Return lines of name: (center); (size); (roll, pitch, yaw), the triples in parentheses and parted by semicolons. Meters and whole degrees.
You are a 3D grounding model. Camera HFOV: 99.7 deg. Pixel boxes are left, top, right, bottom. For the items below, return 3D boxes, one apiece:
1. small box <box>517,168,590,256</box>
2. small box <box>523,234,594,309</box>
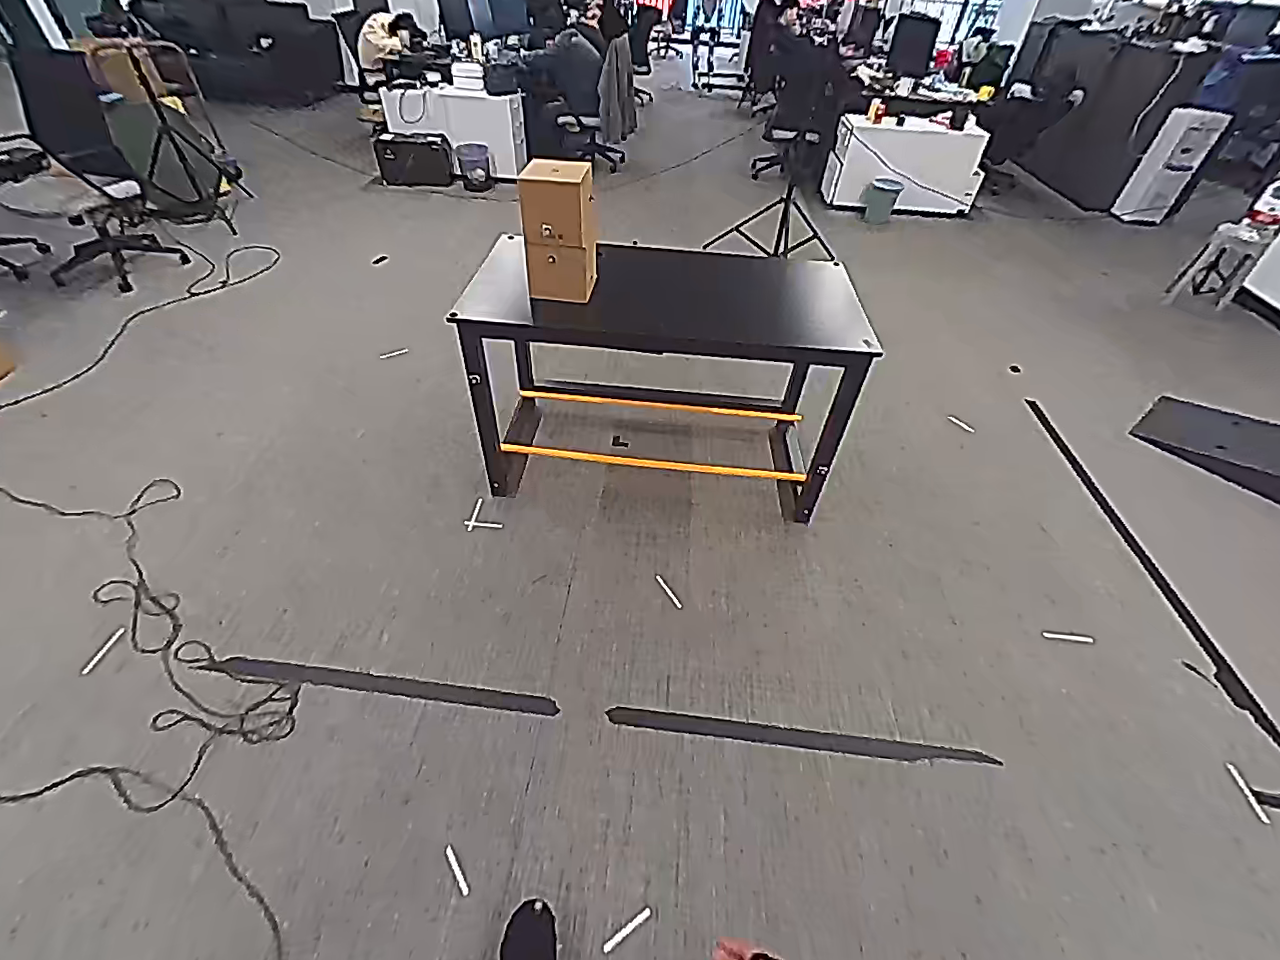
small box: (-0.231, -0.743, 1.498); (0.168, 0.176, 0.179); (4, 45, 3)
small box: (-0.236, -0.627, 1.612); (0.179, 0.176, 0.168); (7, 44, 2)
